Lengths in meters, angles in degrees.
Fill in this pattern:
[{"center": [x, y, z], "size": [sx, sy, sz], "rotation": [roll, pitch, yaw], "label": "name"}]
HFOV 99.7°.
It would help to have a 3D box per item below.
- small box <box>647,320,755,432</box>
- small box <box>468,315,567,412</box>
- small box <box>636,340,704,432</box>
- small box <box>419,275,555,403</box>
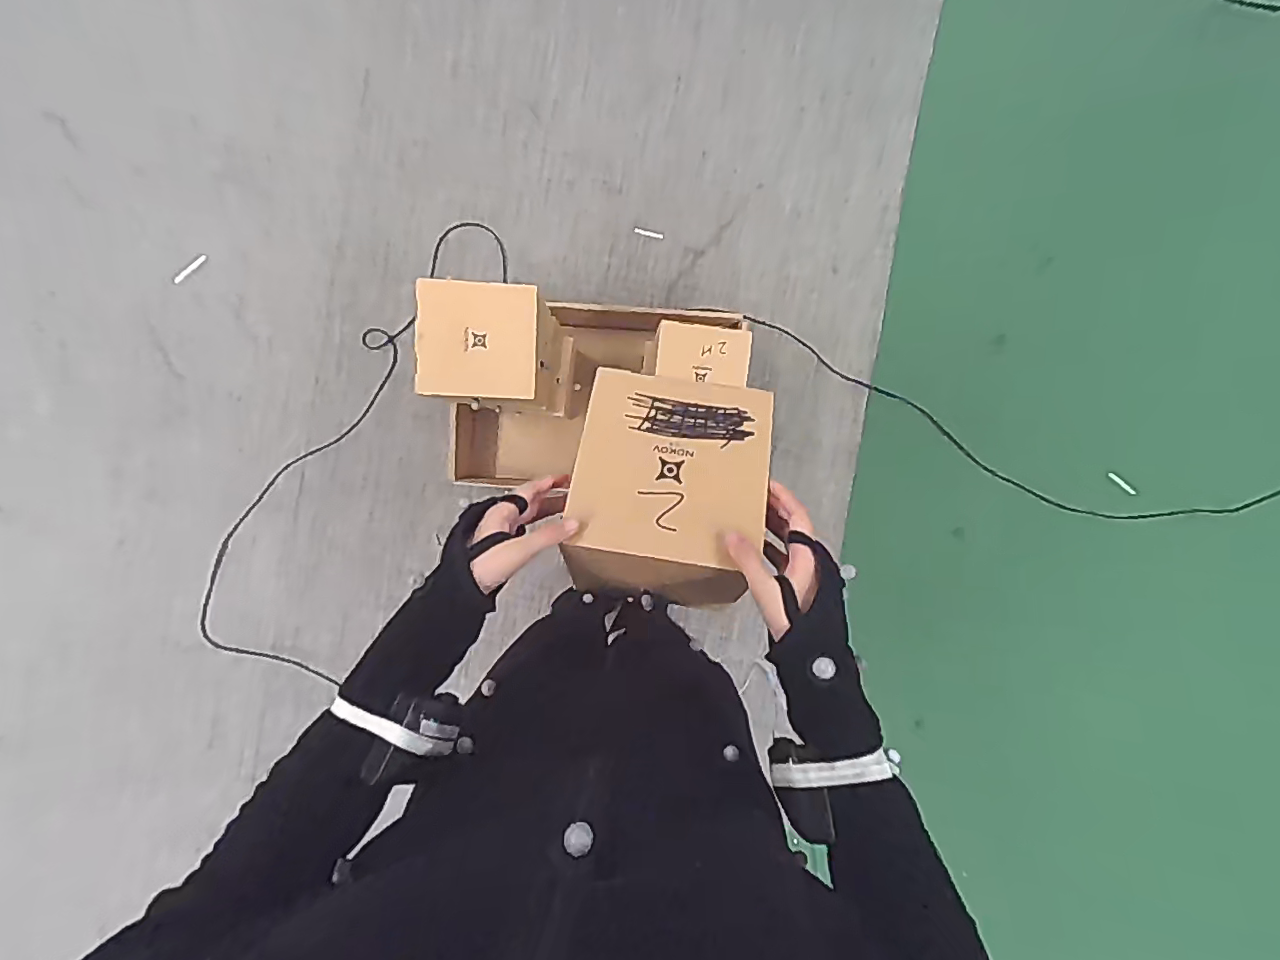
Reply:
[{"center": [0.107, -0.189, 1.034], "size": [0.168, 0.176, 0.179], "rotation": [8, 92, -4], "label": "small box"}, {"center": [-0.240, -0.222, 1.020], "size": [0.179, 0.176, 0.168], "rotation": [8, 94, -4], "label": "small box"}, {"center": [0.086, -0.200, 1.198], "size": [0.179, 0.176, 0.168], "rotation": [8, 92, -2], "label": "small box"}, {"center": [-0.233, -0.213, 0.858], "size": [0.179, 0.176, 0.168], "rotation": [3, 94, -2], "label": "small box"}]
